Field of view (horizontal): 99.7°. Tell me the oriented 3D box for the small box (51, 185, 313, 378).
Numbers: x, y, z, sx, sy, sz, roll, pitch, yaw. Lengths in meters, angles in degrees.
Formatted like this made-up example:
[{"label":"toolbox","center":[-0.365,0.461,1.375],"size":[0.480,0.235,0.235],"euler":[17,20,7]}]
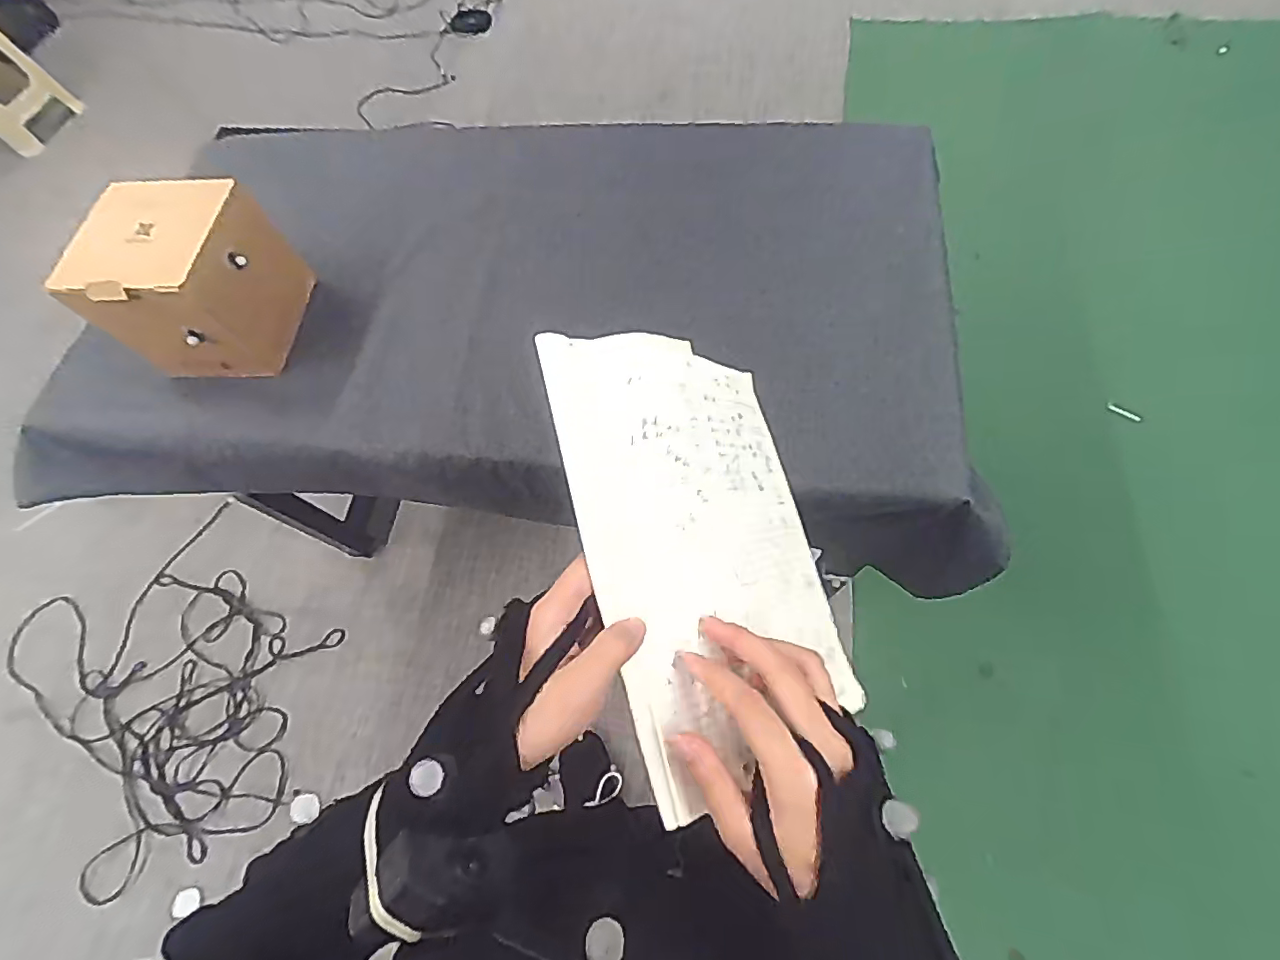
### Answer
[{"label":"small box","center":[-0.565,-0.248,0.701],"size":[0.168,0.176,0.179],"euler":[1,64,4]}]
